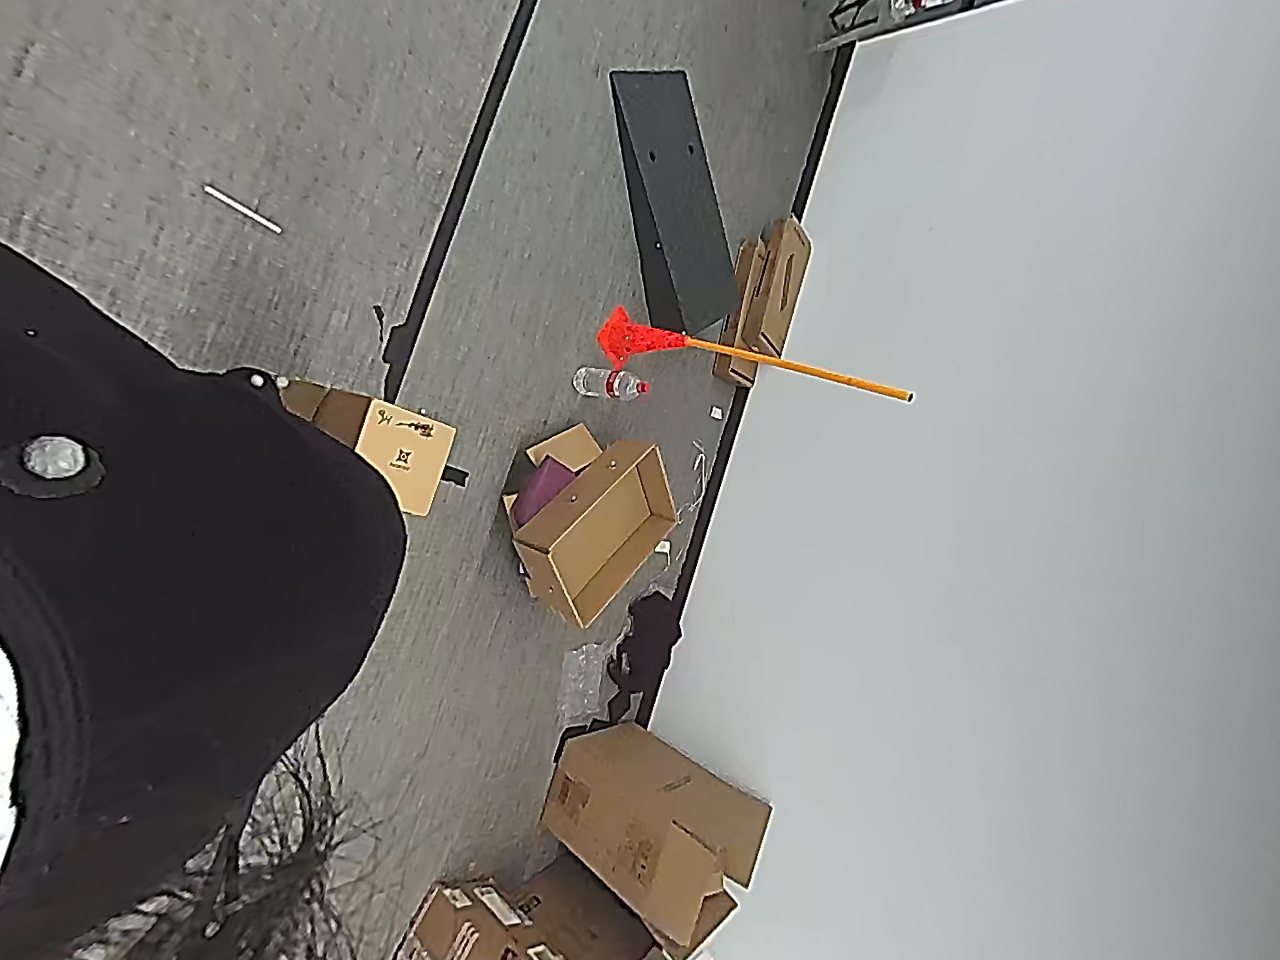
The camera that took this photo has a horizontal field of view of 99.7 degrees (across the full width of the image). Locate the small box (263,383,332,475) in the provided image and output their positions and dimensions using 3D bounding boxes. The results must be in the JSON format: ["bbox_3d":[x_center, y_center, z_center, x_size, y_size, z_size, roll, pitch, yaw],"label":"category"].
[{"bbox_3d":[-0.609,-0.085,1.077,0.179,0.176,0.168,24,83,-54],"label":"small box"}]

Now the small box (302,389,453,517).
[{"bbox_3d":[-0.480,-0.050,0.981,0.168,0.176,0.179,24,83,-53],"label":"small box"}]

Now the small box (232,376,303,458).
[{"bbox_3d":[-0.736,-0.118,1.172,0.179,0.176,0.168,25,81,-52],"label":"small box"}]

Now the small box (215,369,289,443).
[{"bbox_3d":[-0.860,-0.150,1.274,0.168,0.176,0.179,25,81,-52],"label":"small box"}]
